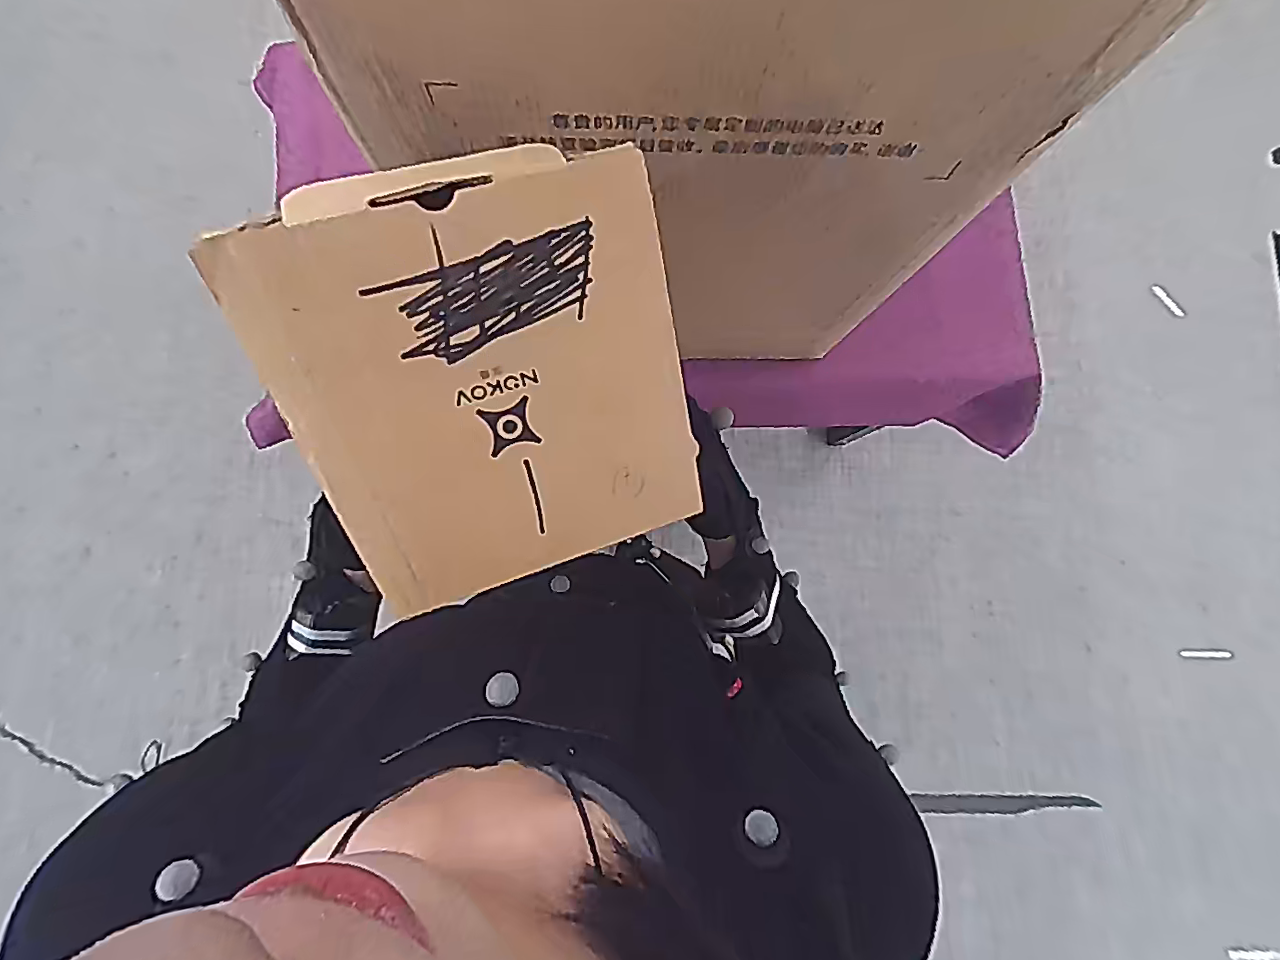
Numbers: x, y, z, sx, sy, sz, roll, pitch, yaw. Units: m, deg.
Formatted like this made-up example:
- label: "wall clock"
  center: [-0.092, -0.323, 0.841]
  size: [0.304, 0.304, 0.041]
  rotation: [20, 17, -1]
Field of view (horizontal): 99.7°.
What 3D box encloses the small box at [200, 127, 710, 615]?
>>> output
- label: "small box"
  center: [-0.081, -0.065, 0.300]
  size: [0.168, 0.176, 0.179]
  rotation: [-19, 117, -11]
